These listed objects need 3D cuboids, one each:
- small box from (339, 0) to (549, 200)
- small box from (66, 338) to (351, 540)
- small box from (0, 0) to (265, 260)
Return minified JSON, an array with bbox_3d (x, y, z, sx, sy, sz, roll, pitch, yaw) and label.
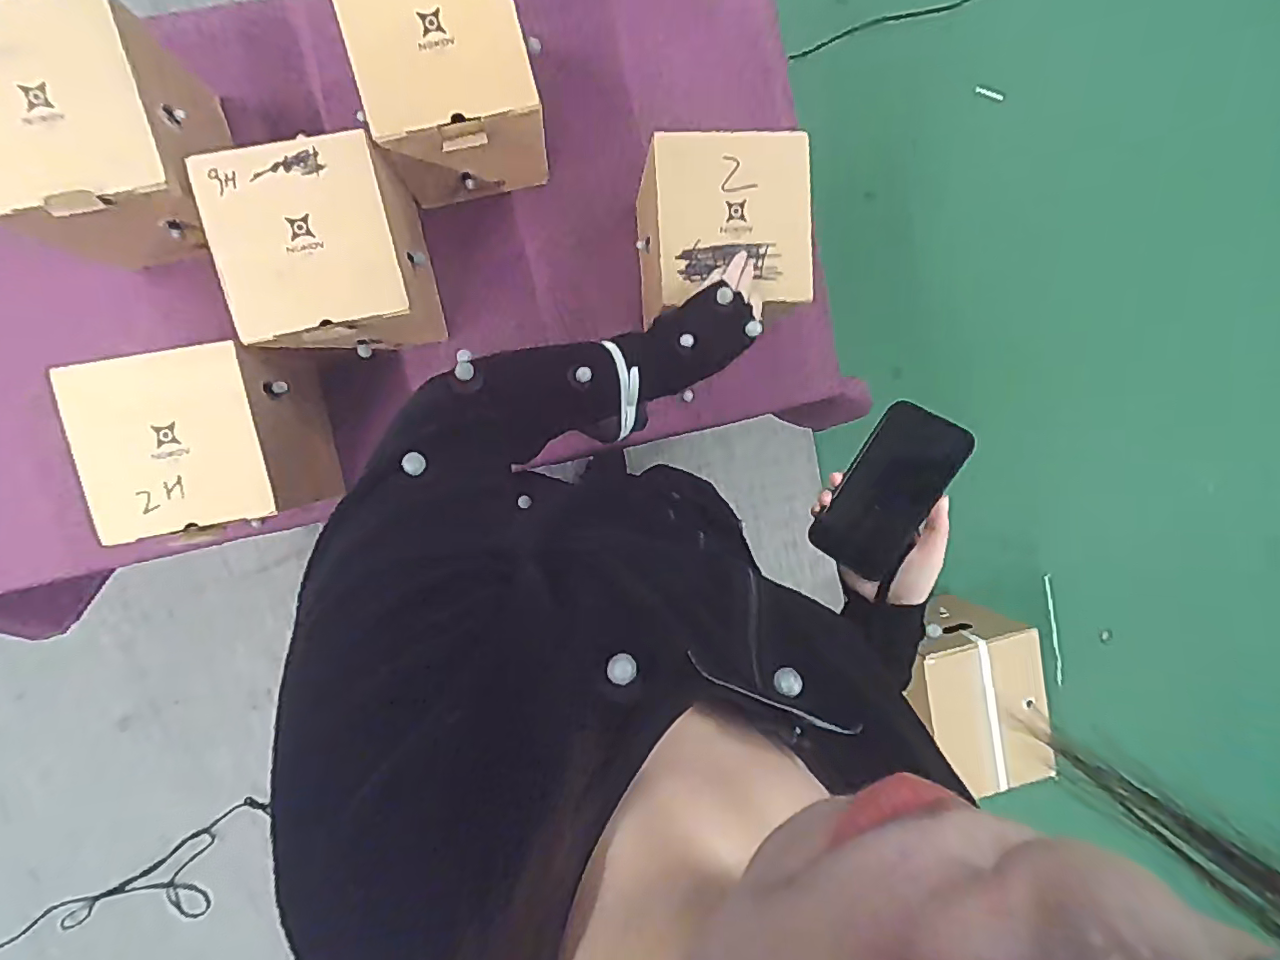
[{"bbox_3d":[-0.203,-0.442,0.592,0.168,0.176,0.179,-16,99,-4],"label":"small box"},{"bbox_3d":[-0.457,-0.047,0.606,0.168,0.176,0.179,-11,97,-5],"label":"small box"},{"bbox_3d":[-0.539,-0.346,0.565,0.168,0.176,0.179,-14,98,-6],"label":"small box"}]
